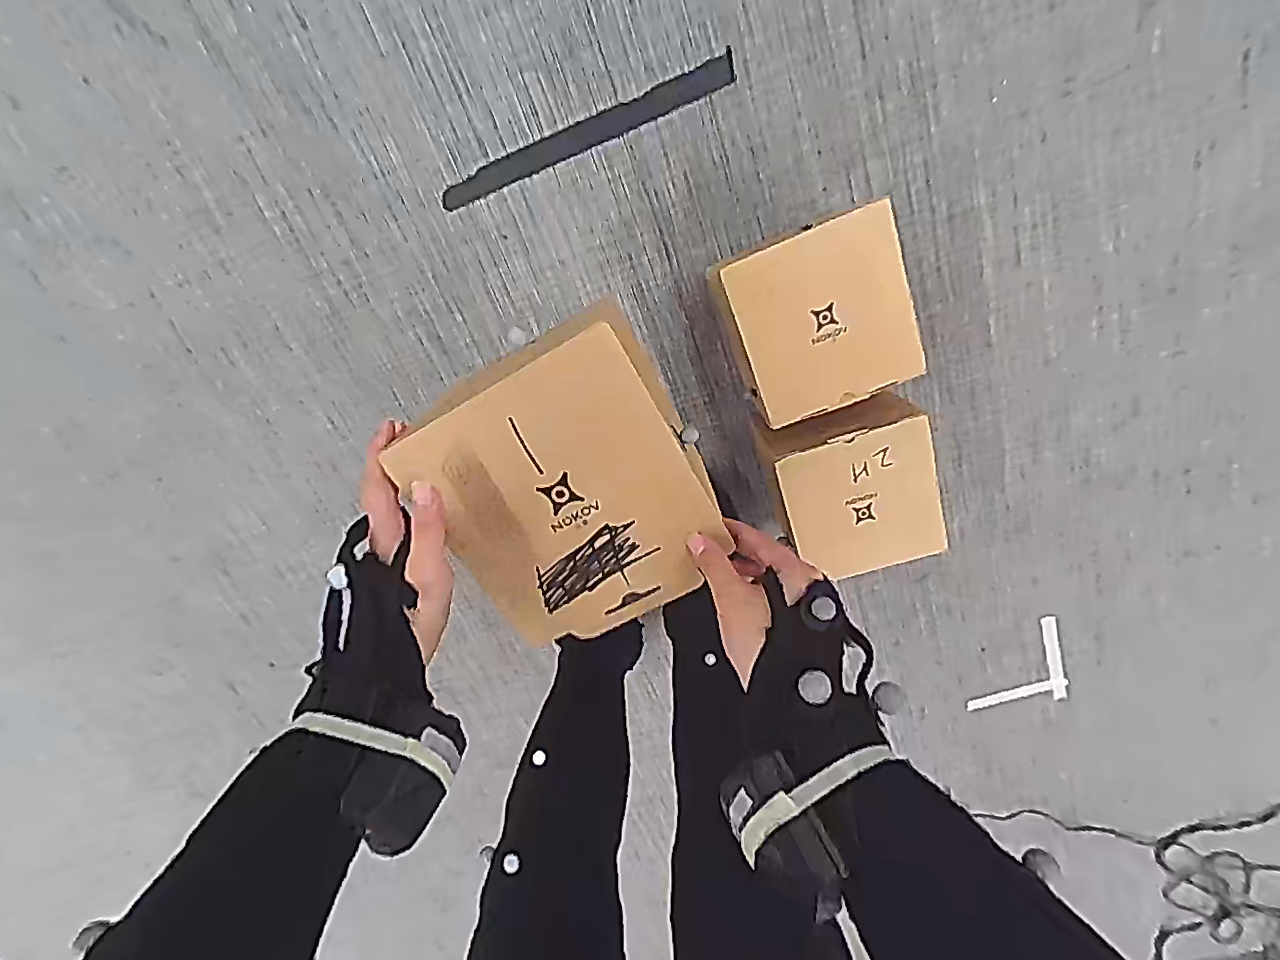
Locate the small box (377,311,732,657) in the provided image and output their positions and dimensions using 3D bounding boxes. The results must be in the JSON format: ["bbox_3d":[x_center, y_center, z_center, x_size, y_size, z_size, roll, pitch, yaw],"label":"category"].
[{"bbox_3d":[-0.050,-0.009,0.414,0.168,0.176,0.179,-28,111,9],"label":"small box"}]
